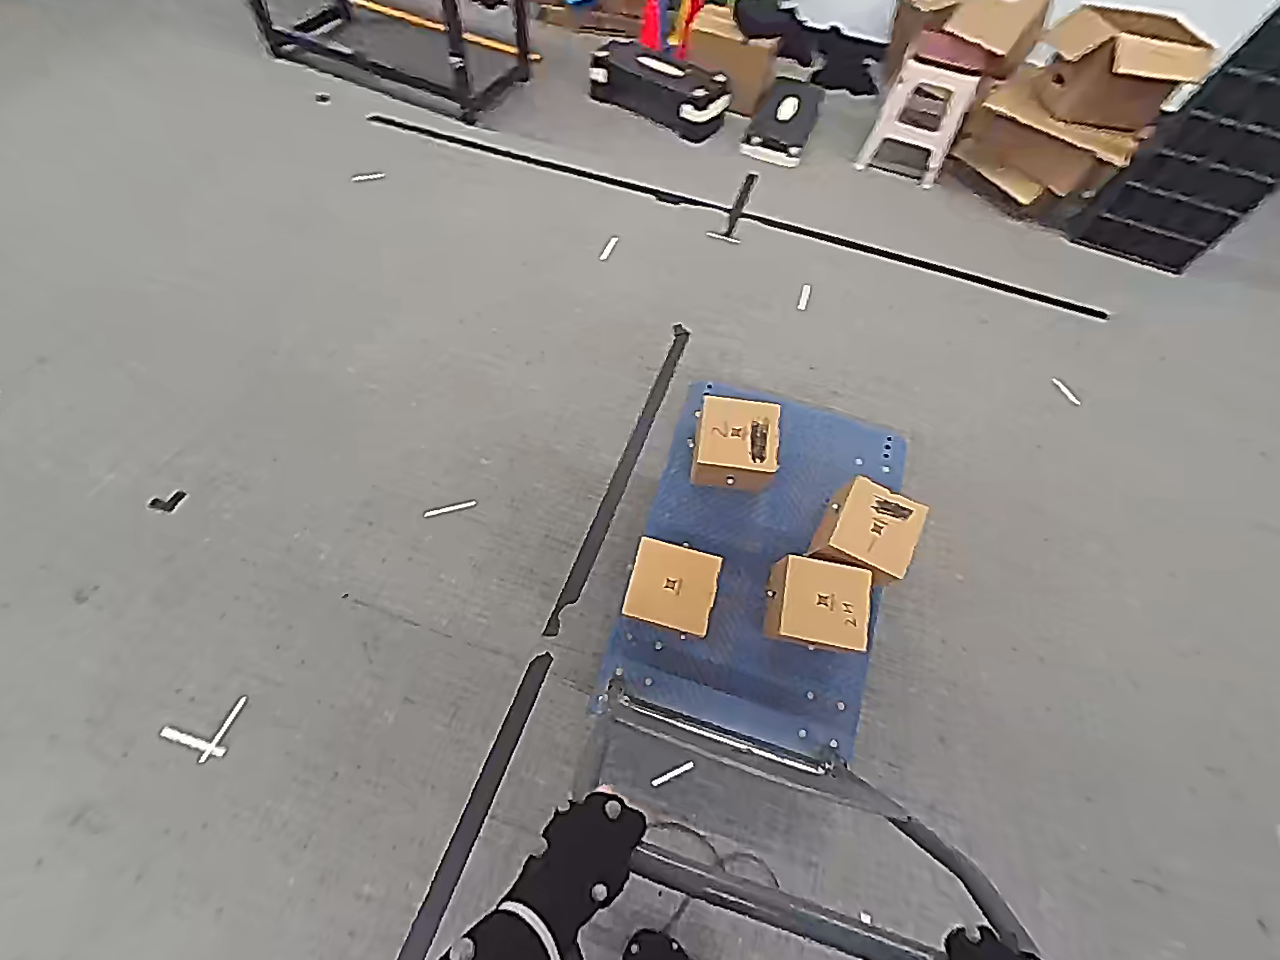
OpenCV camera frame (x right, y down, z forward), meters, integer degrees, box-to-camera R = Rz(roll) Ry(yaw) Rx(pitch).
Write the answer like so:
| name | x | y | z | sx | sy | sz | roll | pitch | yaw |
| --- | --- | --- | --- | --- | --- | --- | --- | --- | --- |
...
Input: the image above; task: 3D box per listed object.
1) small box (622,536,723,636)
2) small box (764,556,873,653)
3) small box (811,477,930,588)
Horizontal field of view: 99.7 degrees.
| name | x | y | z | sx | sy | sz | roll | pitch | yaw |
| --- | --- | --- | --- | --- | --- | --- | --- | --- | --- |
| small box | 0.066 | 0.238 | 1.177 | 0.179 | 0.176 | 0.168 | 15 | 73 | 3 |
| small box | 0.377 | 0.273 | 1.166 | 0.179 | 0.176 | 0.168 | 12 | 73 | 4 |
| small box | 0.507 | 0.125 | 1.213 | 0.168 | 0.176 | 0.179 | 27 | 75 | 8 |
